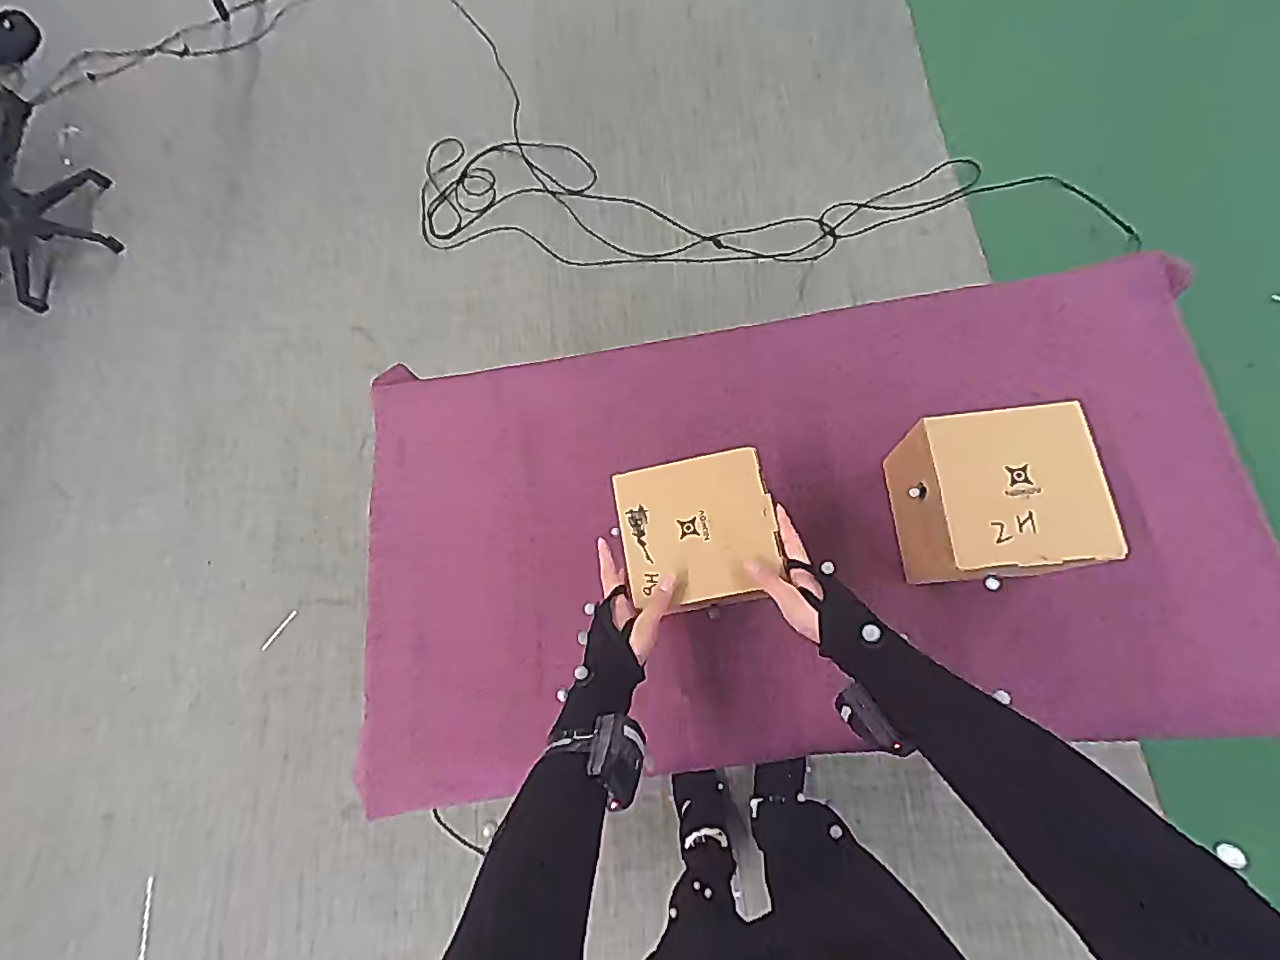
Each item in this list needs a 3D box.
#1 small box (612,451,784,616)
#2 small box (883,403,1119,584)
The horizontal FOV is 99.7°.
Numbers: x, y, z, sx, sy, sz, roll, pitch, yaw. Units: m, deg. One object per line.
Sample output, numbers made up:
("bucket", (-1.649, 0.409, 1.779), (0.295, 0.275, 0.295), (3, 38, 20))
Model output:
("small box", (0.072, 0.078, 0.695), (0.179, 0.176, 0.168), (-11, 72, 5))
("small box", (0.412, 0.026, 0.655), (0.168, 0.176, 0.179), (-6, 74, 8))
